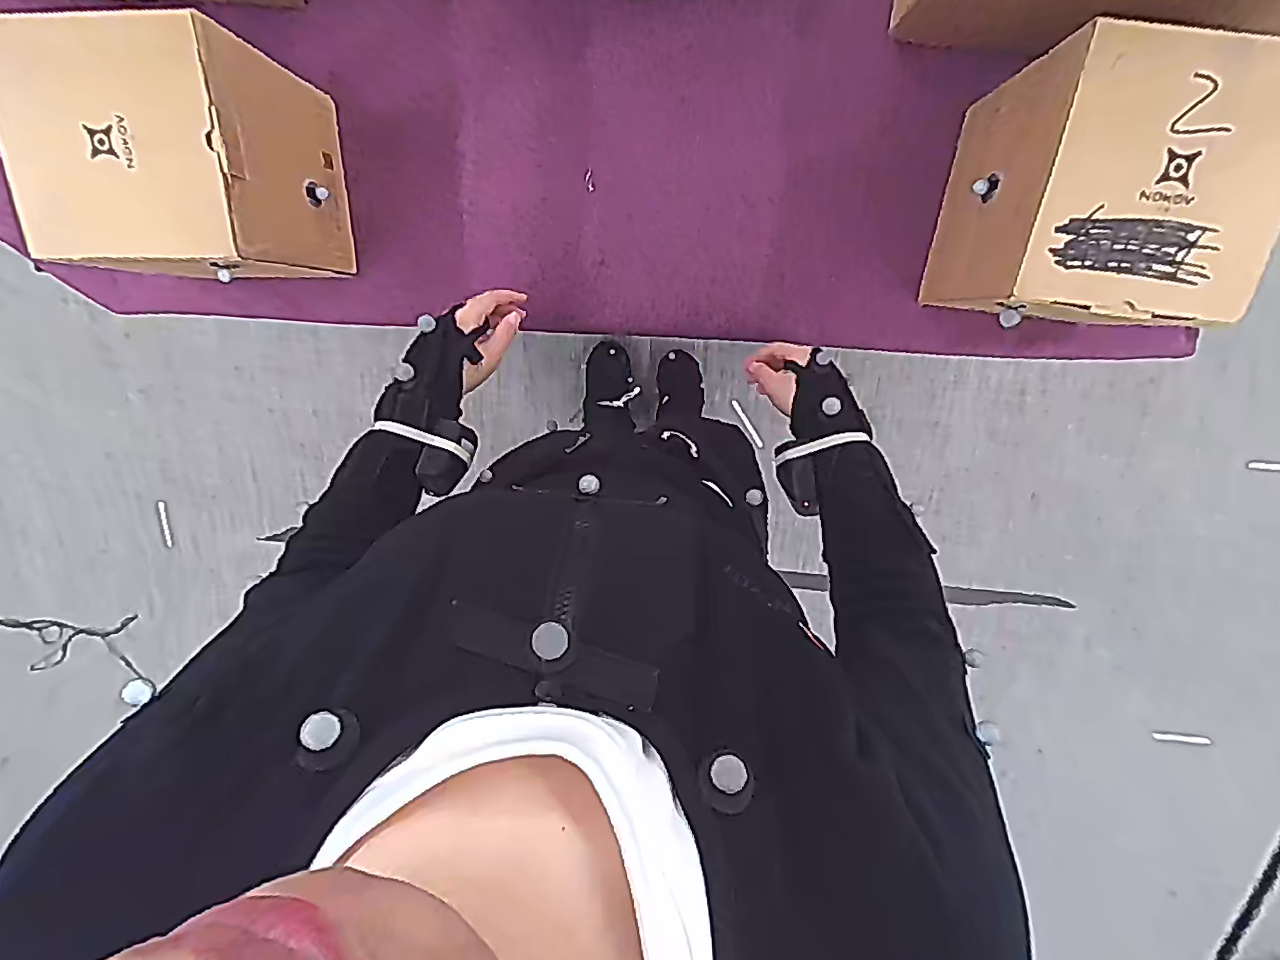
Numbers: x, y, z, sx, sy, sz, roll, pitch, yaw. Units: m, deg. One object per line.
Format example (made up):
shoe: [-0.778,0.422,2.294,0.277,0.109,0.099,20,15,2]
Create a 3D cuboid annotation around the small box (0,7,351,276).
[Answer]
small box: [-0.397,-0.277,0.483,0.179,0.176,0.168,0,106,2]
